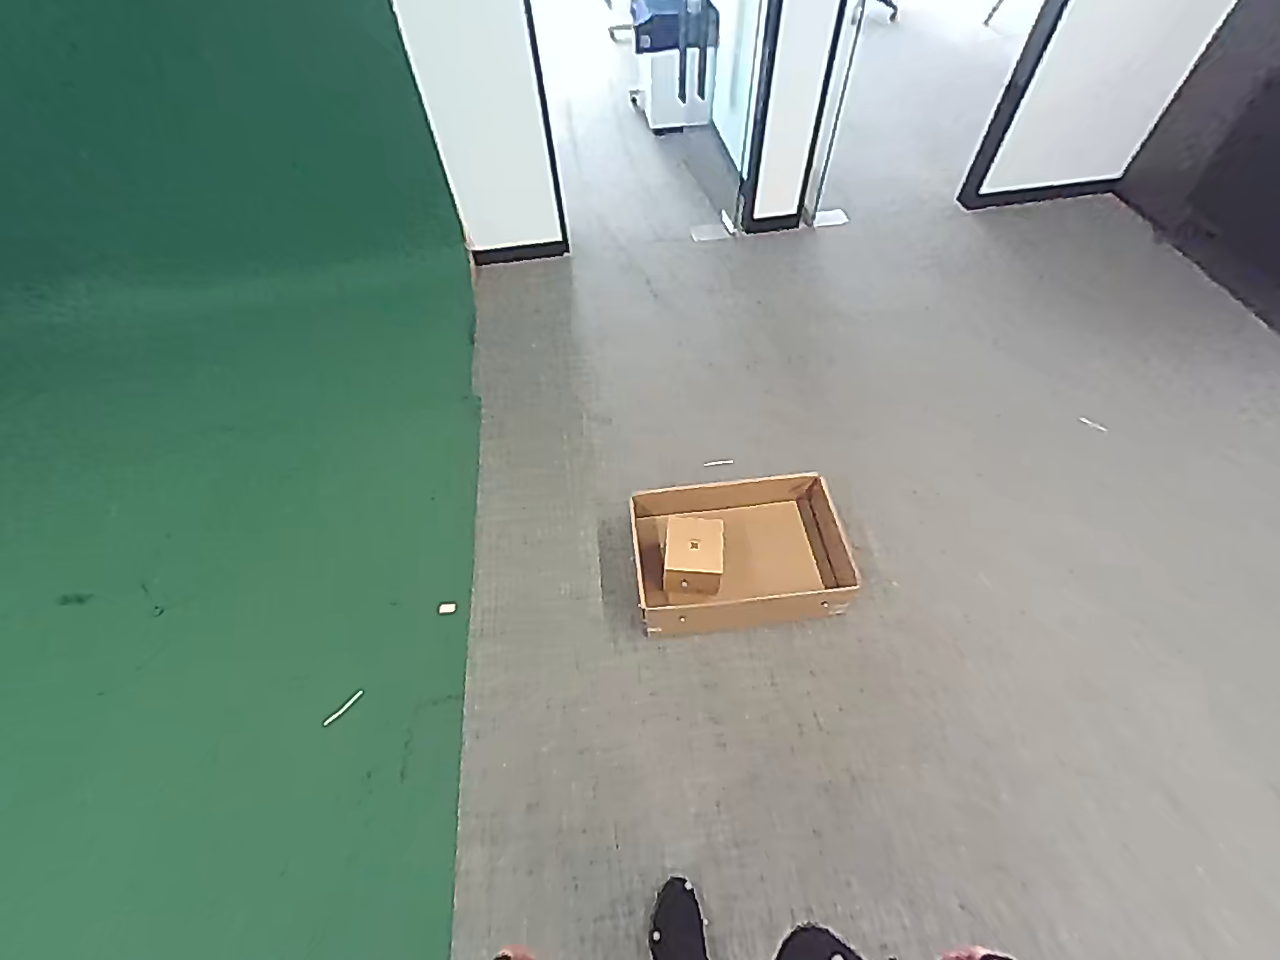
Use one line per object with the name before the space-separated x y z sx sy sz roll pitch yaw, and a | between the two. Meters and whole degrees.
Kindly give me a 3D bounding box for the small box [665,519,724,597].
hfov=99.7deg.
small box | 0.162 0.235 1.607 0.168 0.176 0.179 3 54 4
